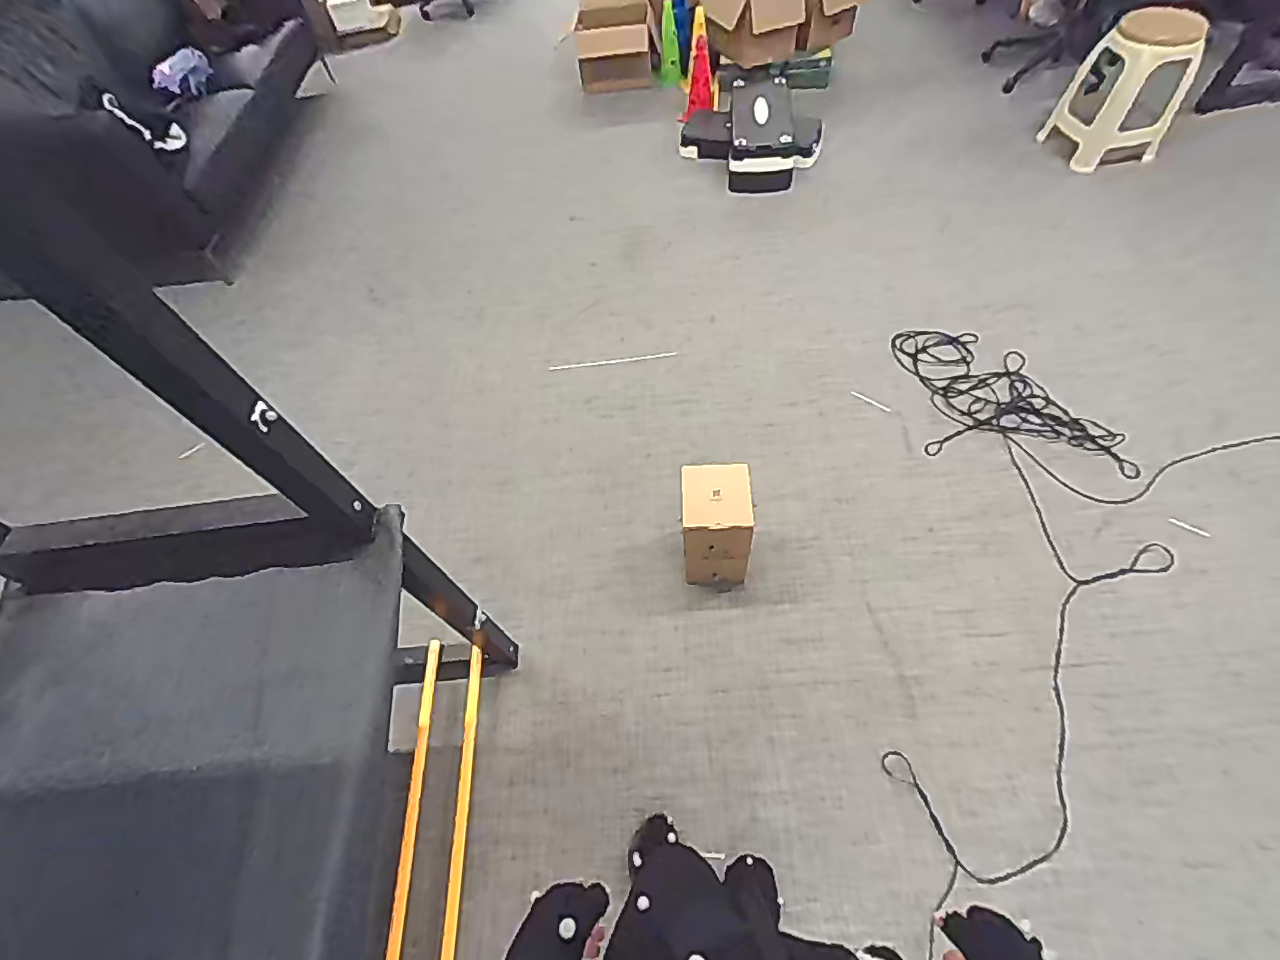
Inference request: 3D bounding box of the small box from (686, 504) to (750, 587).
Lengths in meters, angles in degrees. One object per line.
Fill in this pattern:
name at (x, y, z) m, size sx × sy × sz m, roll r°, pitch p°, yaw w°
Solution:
small box at (0.212, 0.182, 1.495) m, size 0.168 × 0.176 × 0.179 m, roll -1°, pitch 58°, yaw 7°
